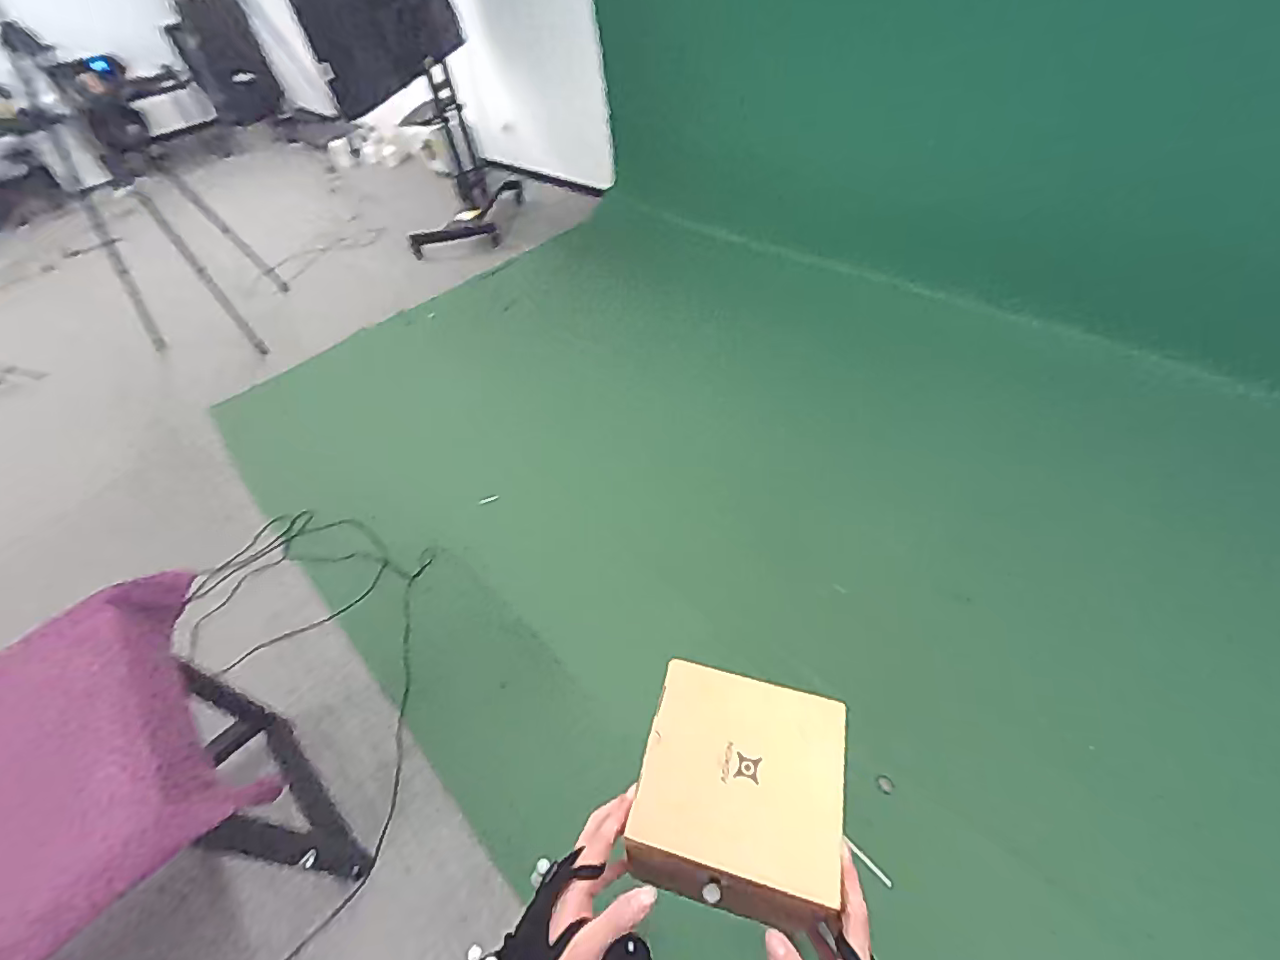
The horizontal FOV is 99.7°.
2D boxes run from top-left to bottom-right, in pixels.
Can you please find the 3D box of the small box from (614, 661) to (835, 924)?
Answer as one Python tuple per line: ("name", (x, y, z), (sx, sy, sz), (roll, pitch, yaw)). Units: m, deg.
("small box", (0.085, 0.312, 0.539), (0.179, 0.176, 0.168), (9, 45, 13))
